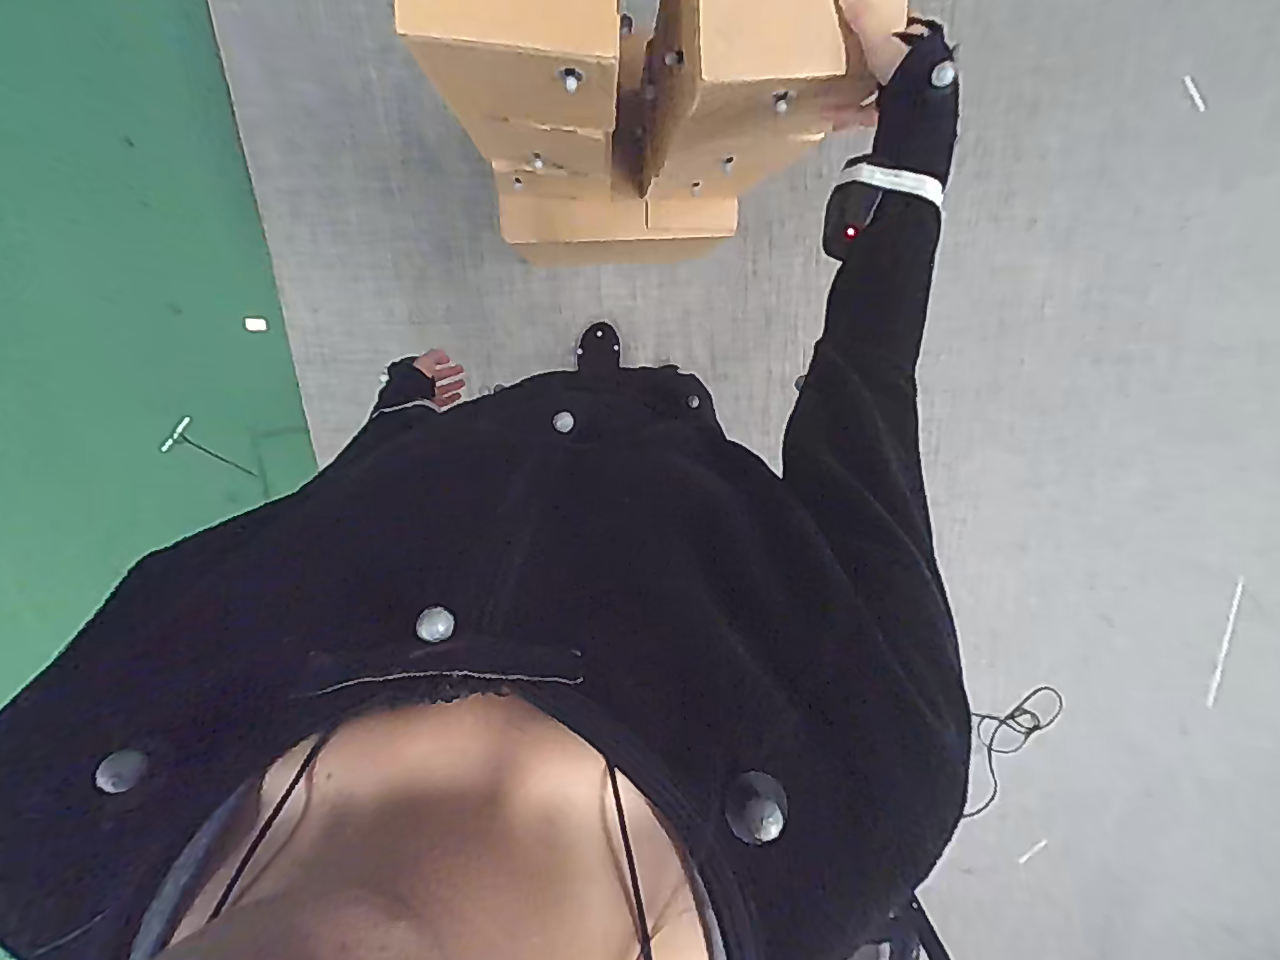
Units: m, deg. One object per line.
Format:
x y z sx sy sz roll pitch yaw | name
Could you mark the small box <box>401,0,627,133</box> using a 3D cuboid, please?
-0.101 -0.439 0.491 0.179 0.176 0.168 2 106 -5 | small box
